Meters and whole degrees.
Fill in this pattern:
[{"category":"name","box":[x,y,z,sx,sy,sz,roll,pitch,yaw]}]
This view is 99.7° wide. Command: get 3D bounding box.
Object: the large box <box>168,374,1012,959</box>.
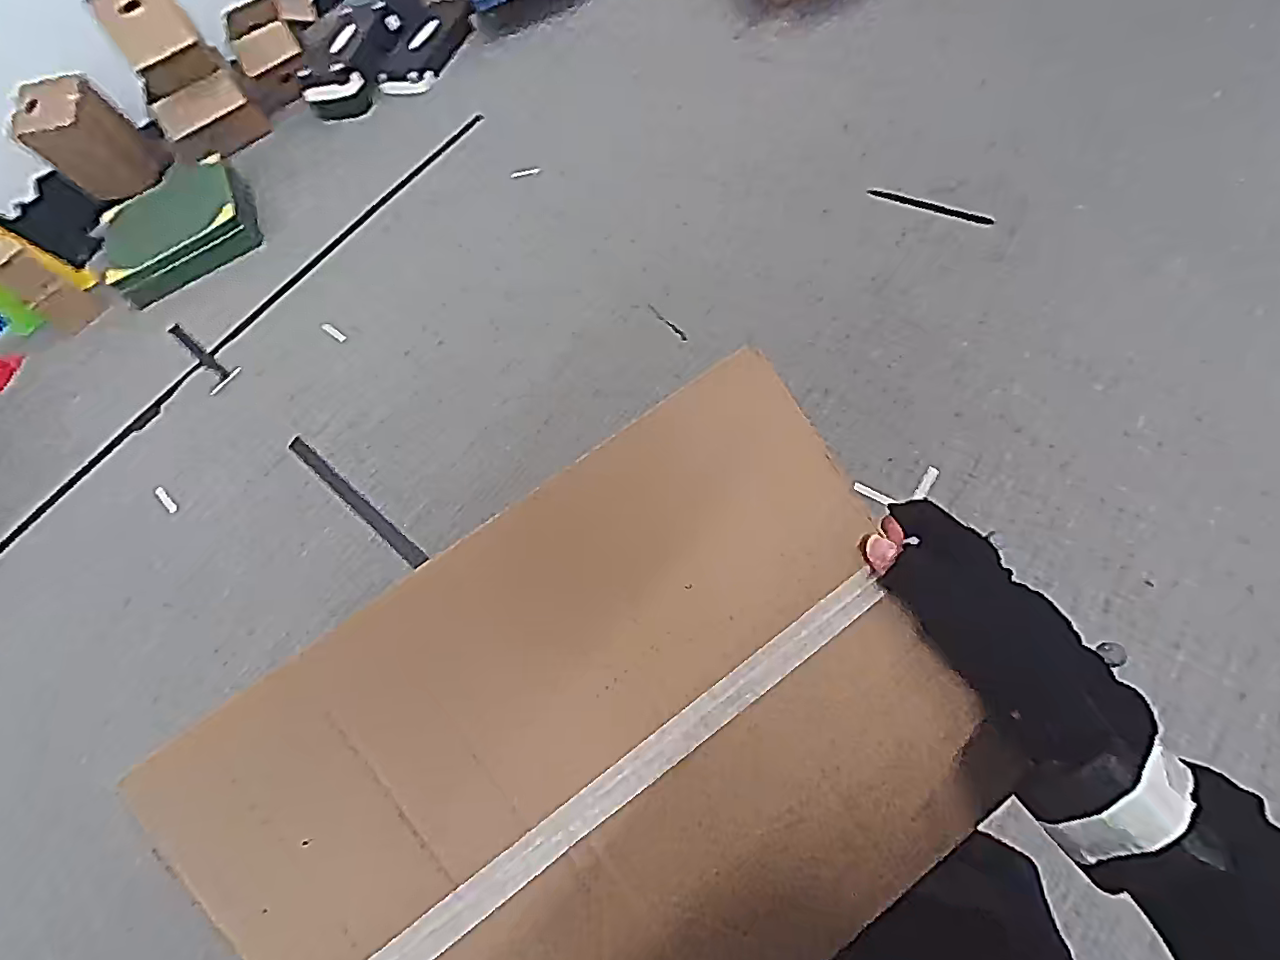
[{"category":"large box","box":[-0.022,0.174,0.460,0.408,0.320,0.320,-35,92,-7]}]
